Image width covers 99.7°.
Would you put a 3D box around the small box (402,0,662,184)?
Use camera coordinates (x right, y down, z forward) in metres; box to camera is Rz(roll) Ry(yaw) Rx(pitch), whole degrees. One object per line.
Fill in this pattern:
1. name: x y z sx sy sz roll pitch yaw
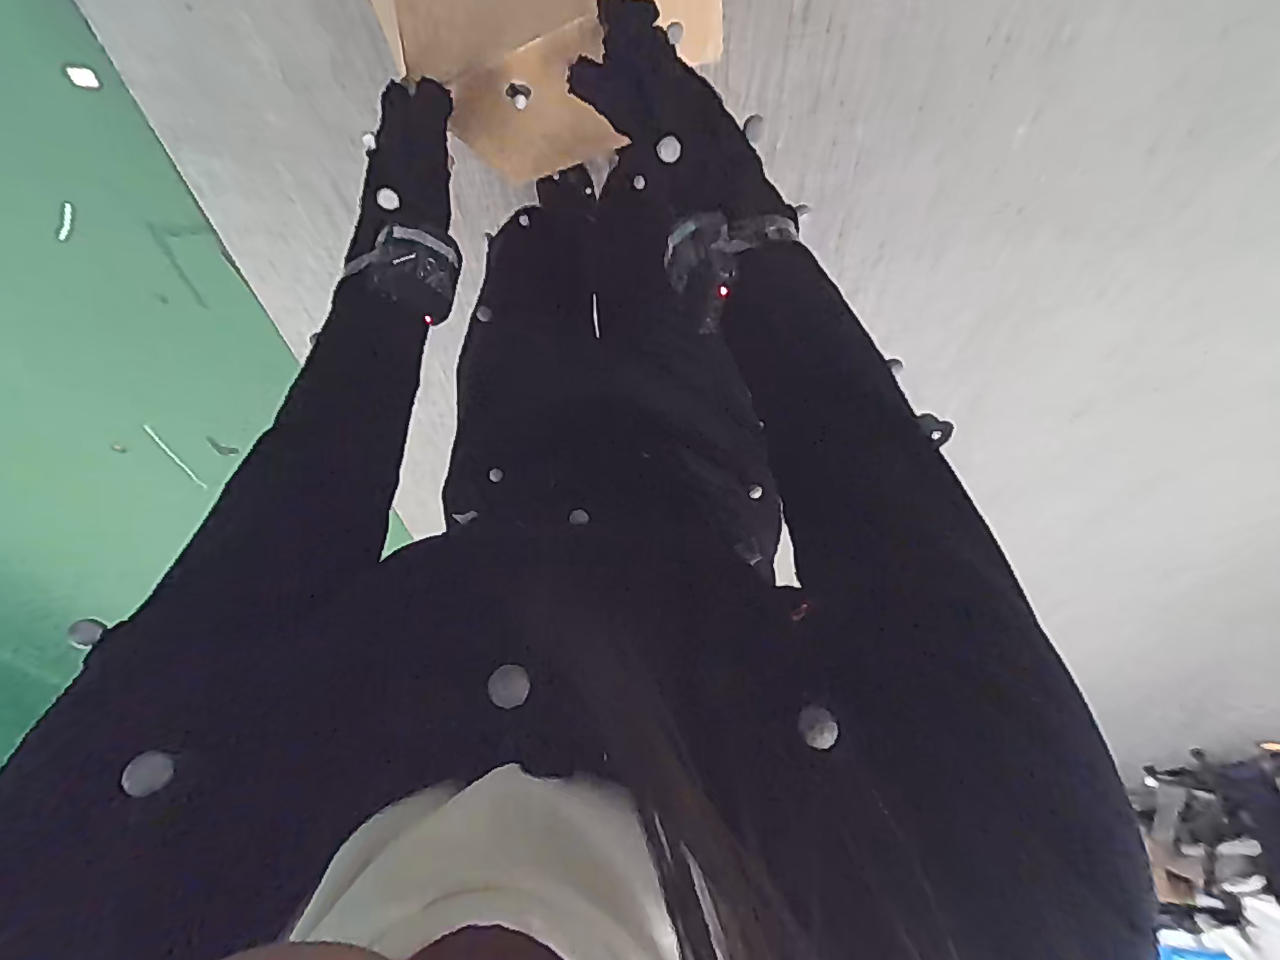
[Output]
1. small box: -0.095 -0.416 0.507 0.179 0.168 0.176 -10 178 20
